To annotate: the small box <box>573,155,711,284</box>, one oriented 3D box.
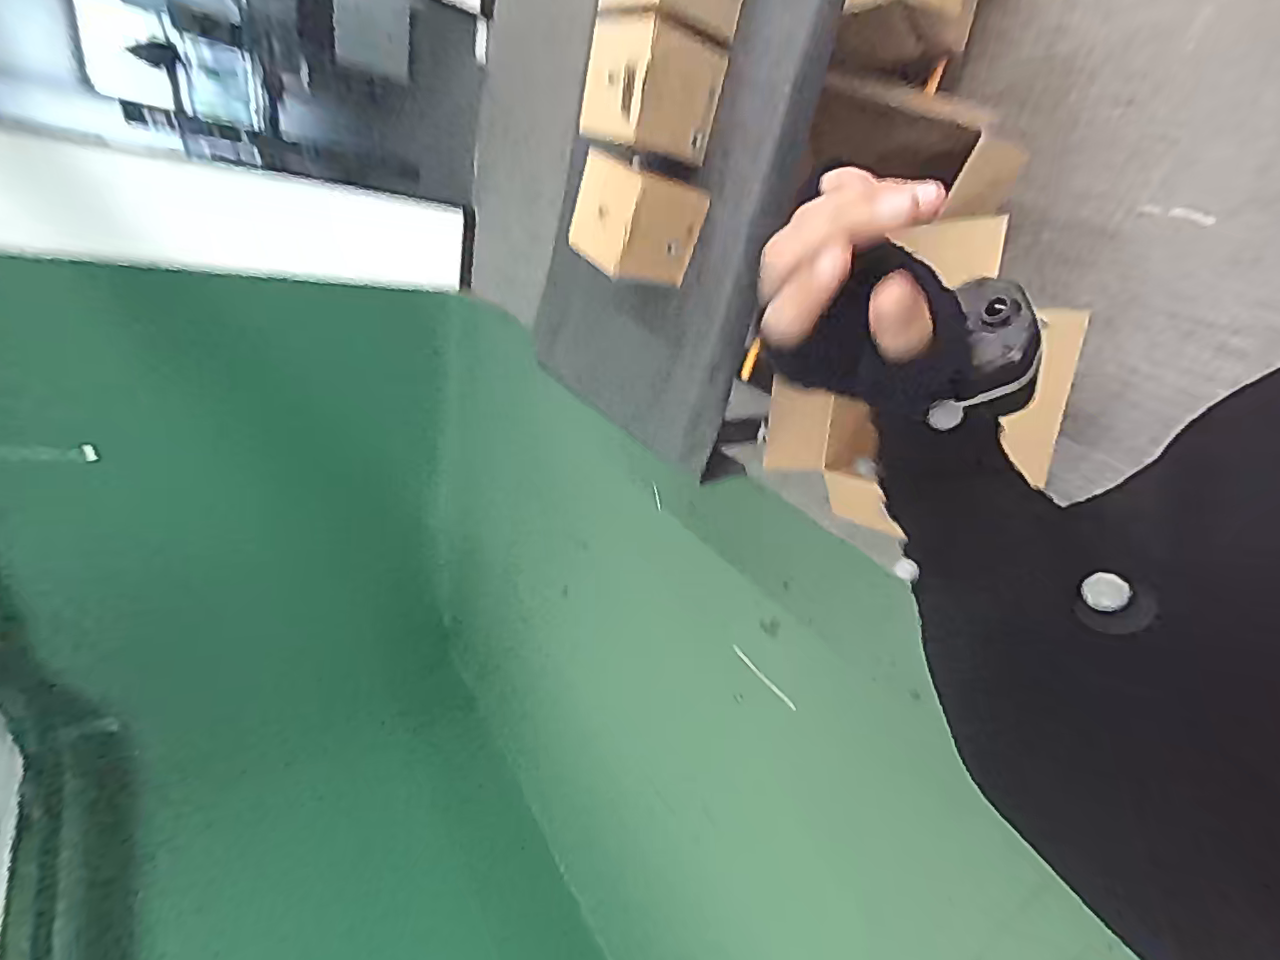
[{"bbox_3d":[0.002,-0.492,1.037,0.179,0.176,0.168,48,131,34],"label":"small box"}]
